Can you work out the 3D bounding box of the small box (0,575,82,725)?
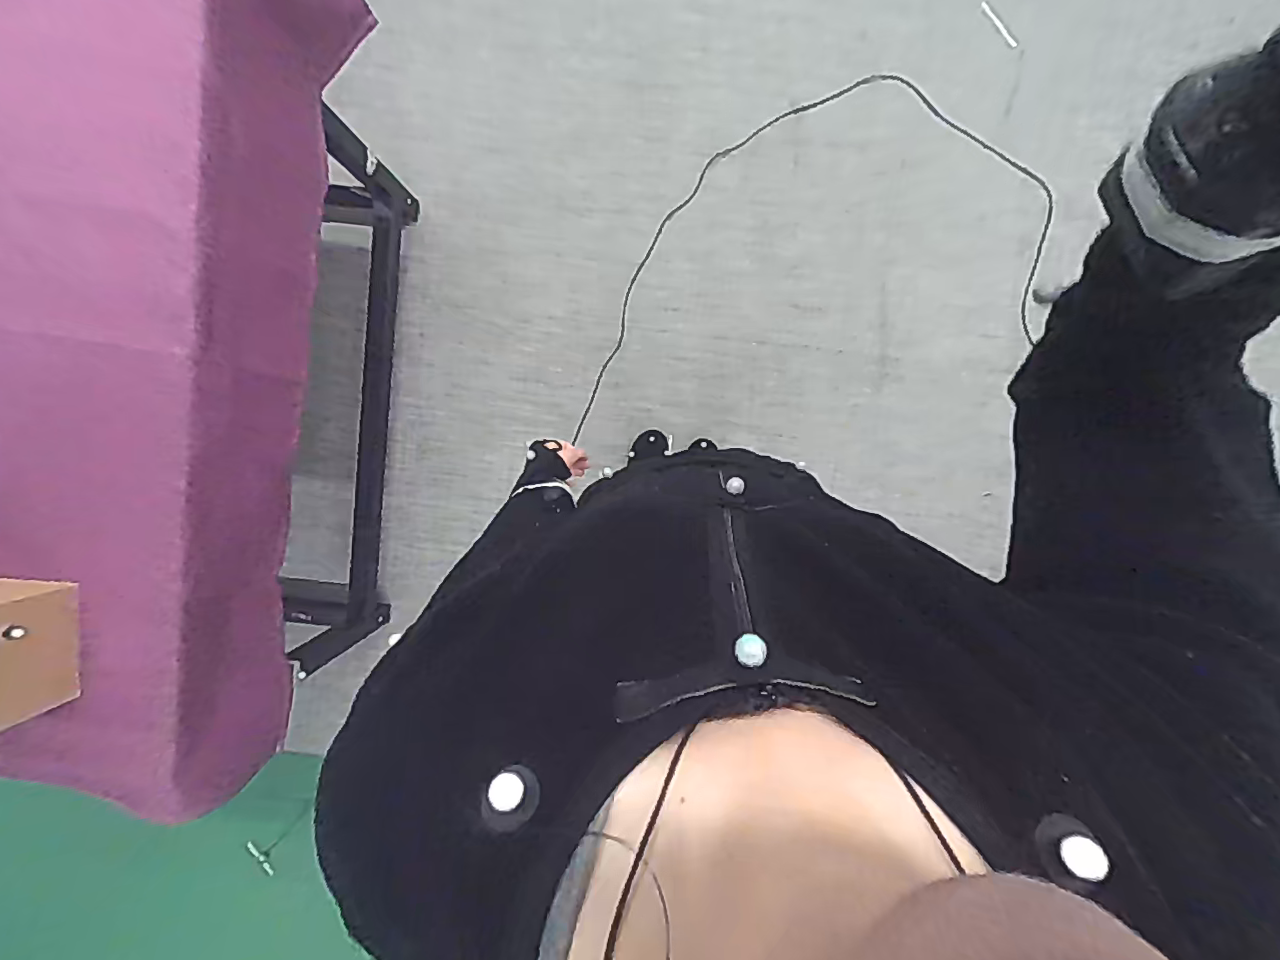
[{"bbox_3d":[-0.925,0.234,0.740,0.168,0.176,0.179,4,95,1],"label":"small box"}]
